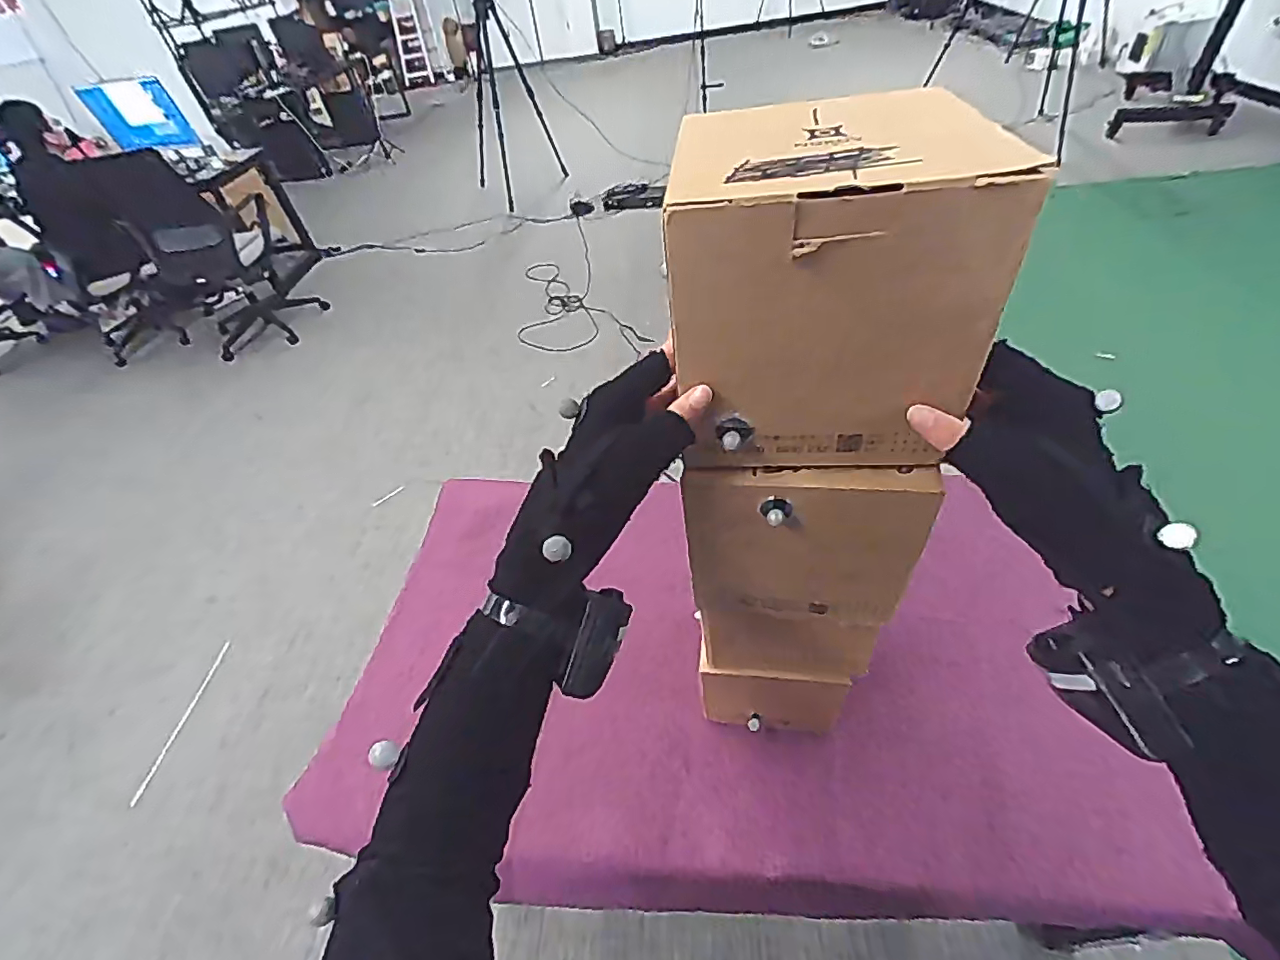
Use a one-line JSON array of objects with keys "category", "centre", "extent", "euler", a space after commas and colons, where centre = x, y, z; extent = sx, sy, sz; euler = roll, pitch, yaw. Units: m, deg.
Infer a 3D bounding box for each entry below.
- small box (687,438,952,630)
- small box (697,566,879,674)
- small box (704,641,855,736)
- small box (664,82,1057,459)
[{"category": "small box", "centre": [0.135, 0.001, 0.456], "extent": [0.168, 0.176, 0.179], "euler": [2, 46, 13]}, {"category": "small box", "centre": [0.160, 0.096, 0.589], "extent": [0.179, 0.176, 0.168], "euler": [0, 47, 11]}, {"category": "small box", "centre": [0.175, 0.208, 0.705], "extent": [0.168, 0.176, 0.179], "euler": [1, 48, 12]}, {"category": "small box", "centre": [0.111, -0.126, 0.346], "extent": [0.168, 0.176, 0.179], "euler": [-1, 44, 9]}]
